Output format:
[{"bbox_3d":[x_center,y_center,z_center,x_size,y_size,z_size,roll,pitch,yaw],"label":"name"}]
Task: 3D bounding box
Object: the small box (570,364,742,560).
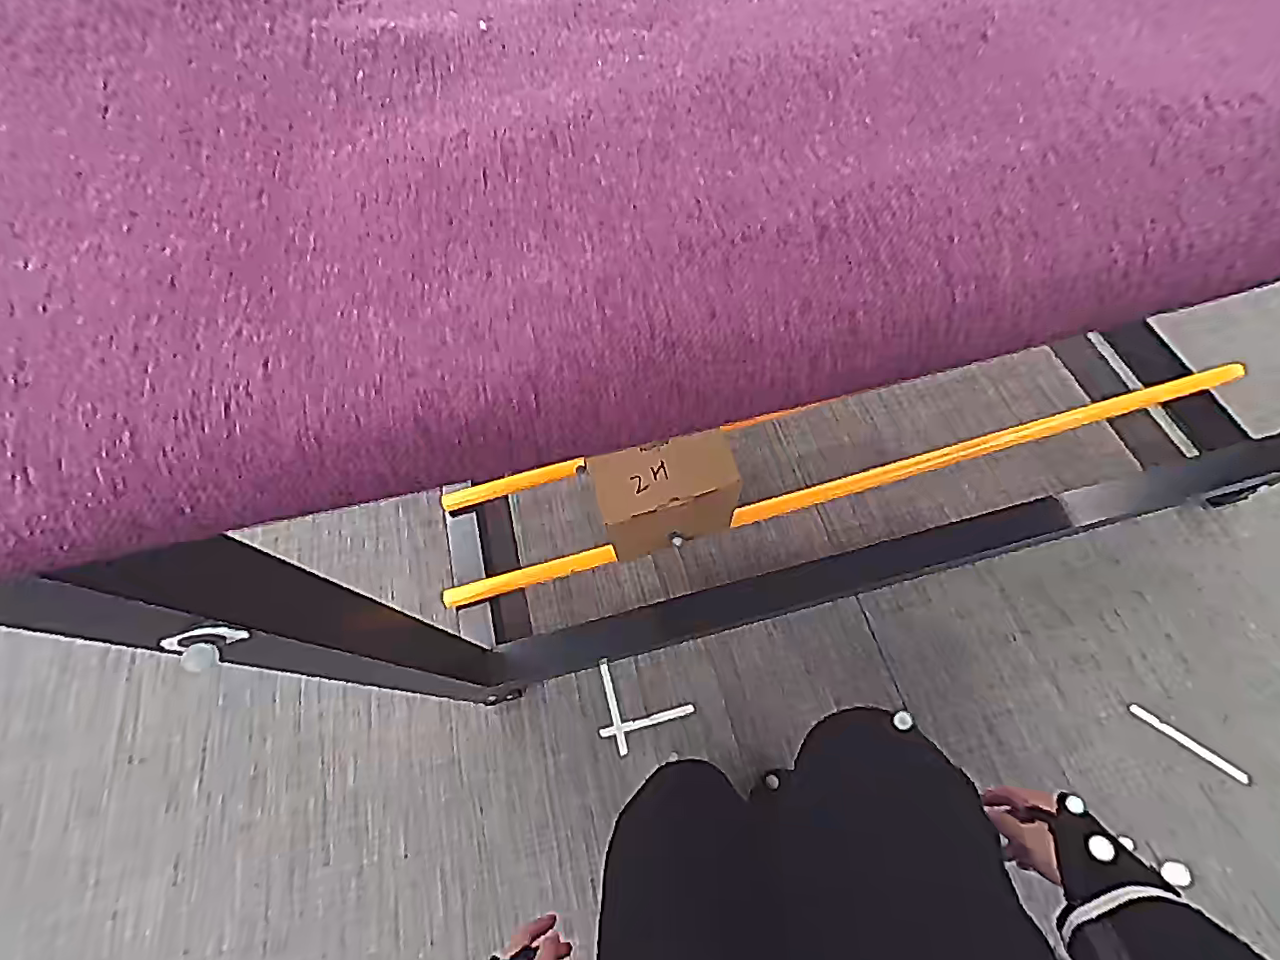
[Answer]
[{"bbox_3d":[0.018,-0.017,0.708,0.168,0.176,0.179,-17,66,-4],"label":"small box"}]
